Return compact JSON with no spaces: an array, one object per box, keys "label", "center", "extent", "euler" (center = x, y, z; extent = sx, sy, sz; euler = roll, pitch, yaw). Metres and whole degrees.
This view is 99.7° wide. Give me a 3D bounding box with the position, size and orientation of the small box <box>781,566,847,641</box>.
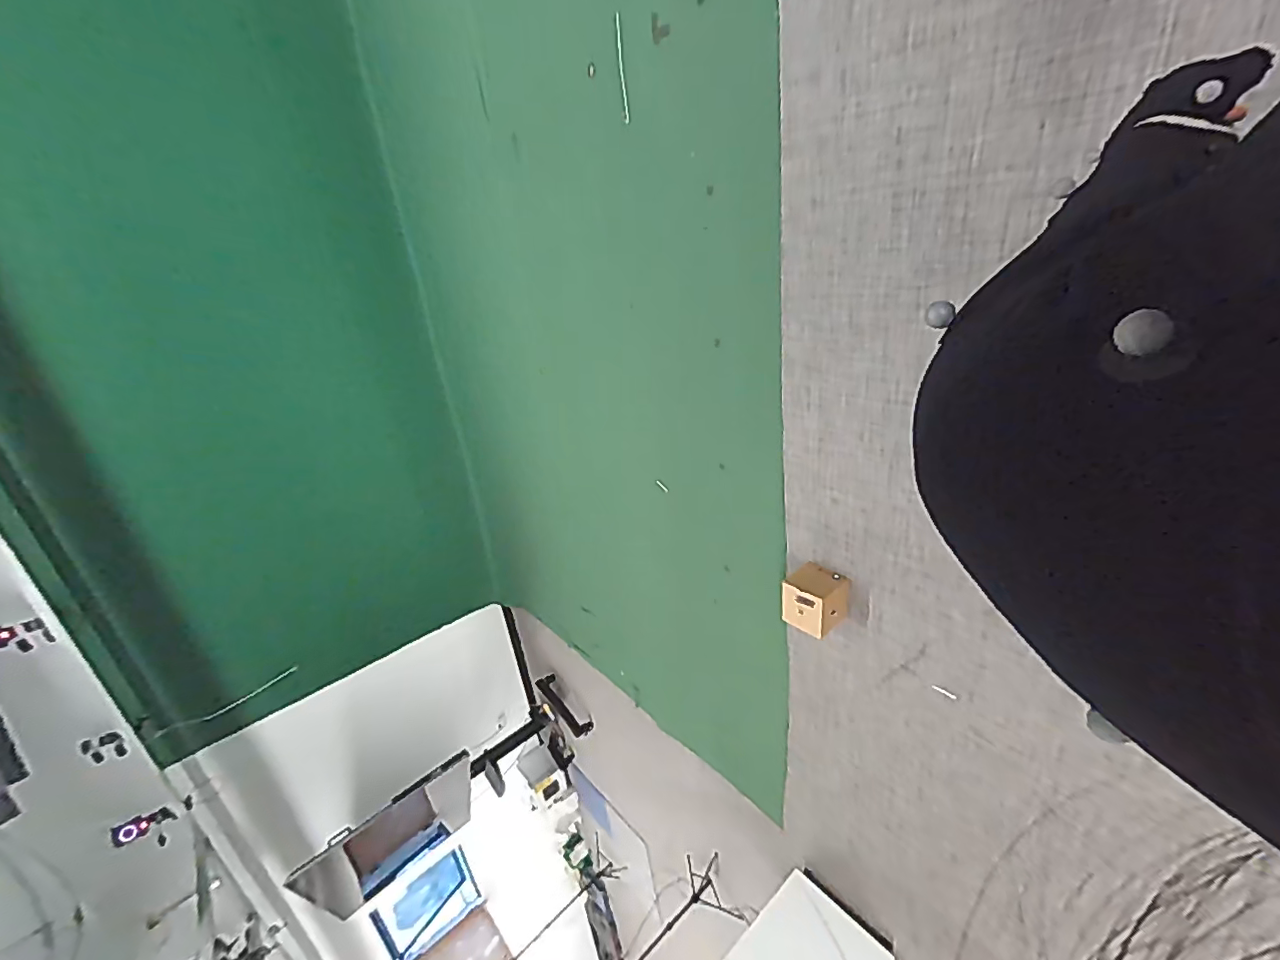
[{"label":"small box","center":[0.625,0.434,1.942],"extent":[0.168,0.176,0.179],"euler":[22,127,46]}]
